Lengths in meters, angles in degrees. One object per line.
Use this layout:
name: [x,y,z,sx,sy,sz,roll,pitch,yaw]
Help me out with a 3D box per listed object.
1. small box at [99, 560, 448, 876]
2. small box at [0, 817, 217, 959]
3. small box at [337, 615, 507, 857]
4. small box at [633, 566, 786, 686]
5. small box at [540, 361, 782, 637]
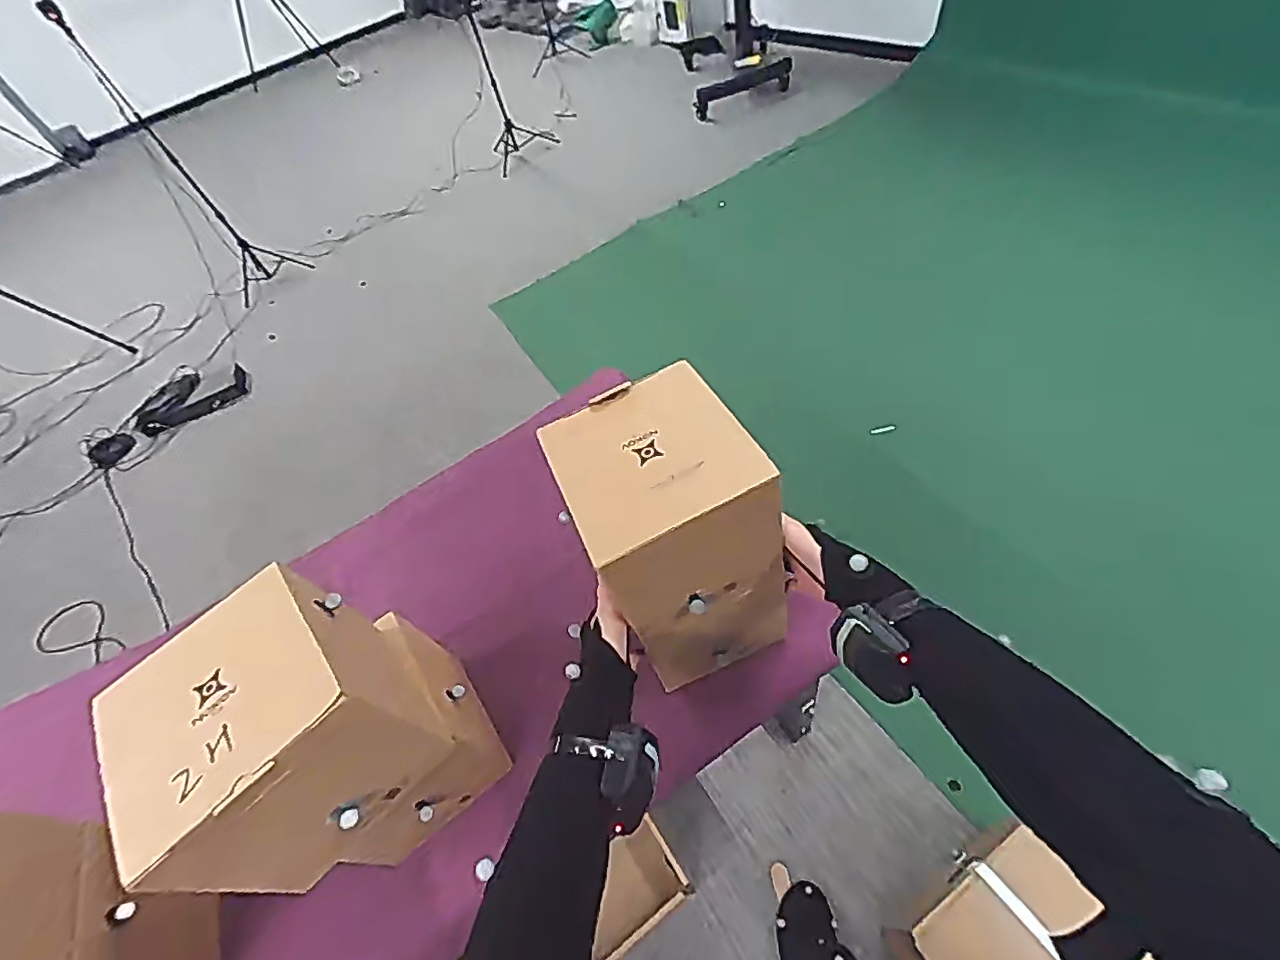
small box: [-0.307,0.211,0.476,0.168,0.176,0.179,-42,54,-17]
small box: [-0.571,0.485,0.547,0.168,0.176,0.179,-32,52,-11]
small box: [-0.281,0.295,0.618,0.168,0.176,0.179,-36,52,-14]
small box: [0.062,0.119,0.658,0.168,0.176,0.179,-24,51,-3]
small box: [0.024,0.022,0.533,0.168,0.176,0.179,-26,50,-4]
